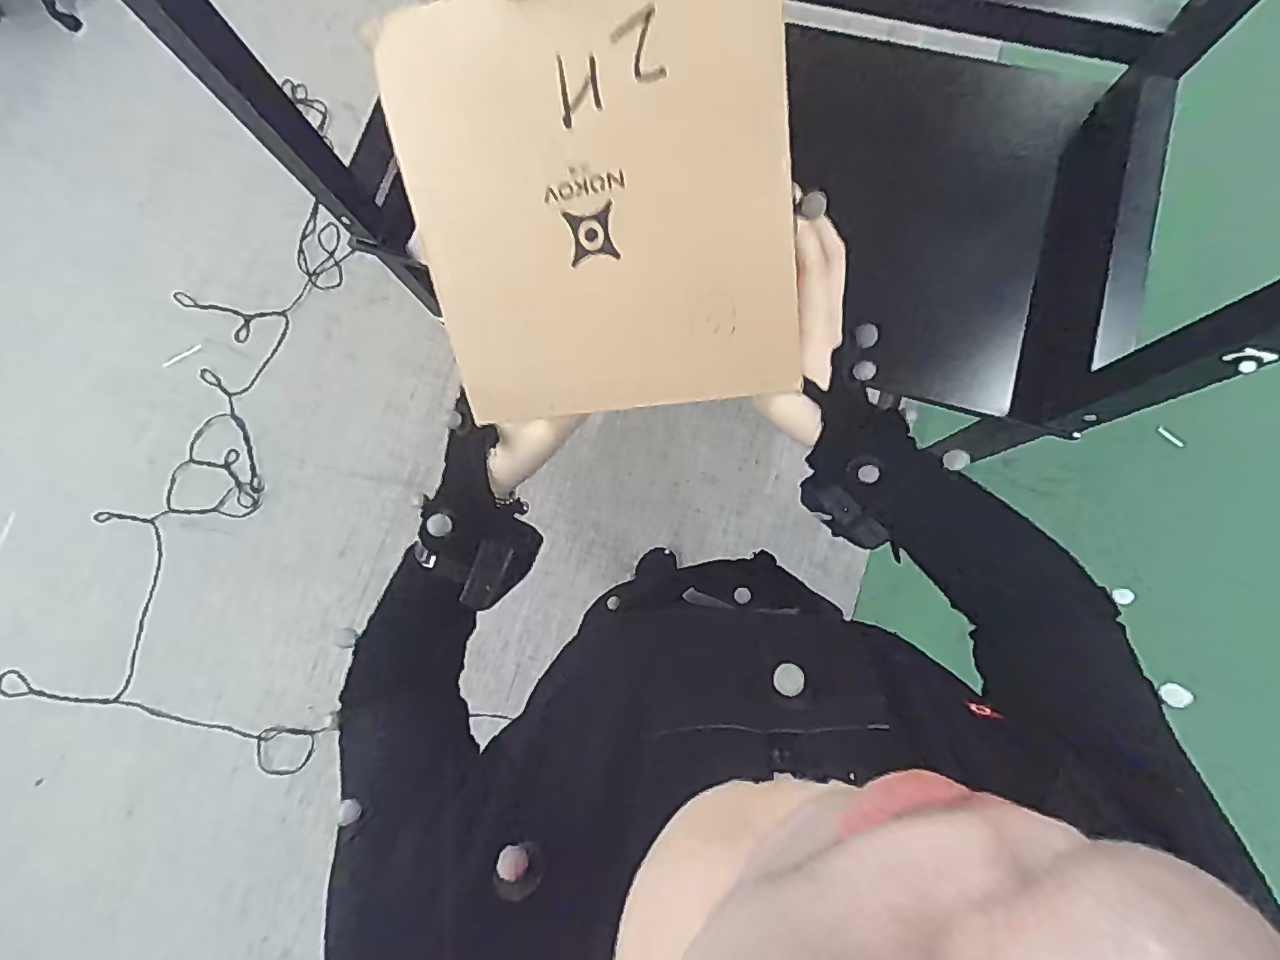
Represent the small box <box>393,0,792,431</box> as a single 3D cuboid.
[{"bbox_3d":[0.001,-0.140,0.314,0.168,0.176,0.179,-3,112,14],"label":"small box"}]
